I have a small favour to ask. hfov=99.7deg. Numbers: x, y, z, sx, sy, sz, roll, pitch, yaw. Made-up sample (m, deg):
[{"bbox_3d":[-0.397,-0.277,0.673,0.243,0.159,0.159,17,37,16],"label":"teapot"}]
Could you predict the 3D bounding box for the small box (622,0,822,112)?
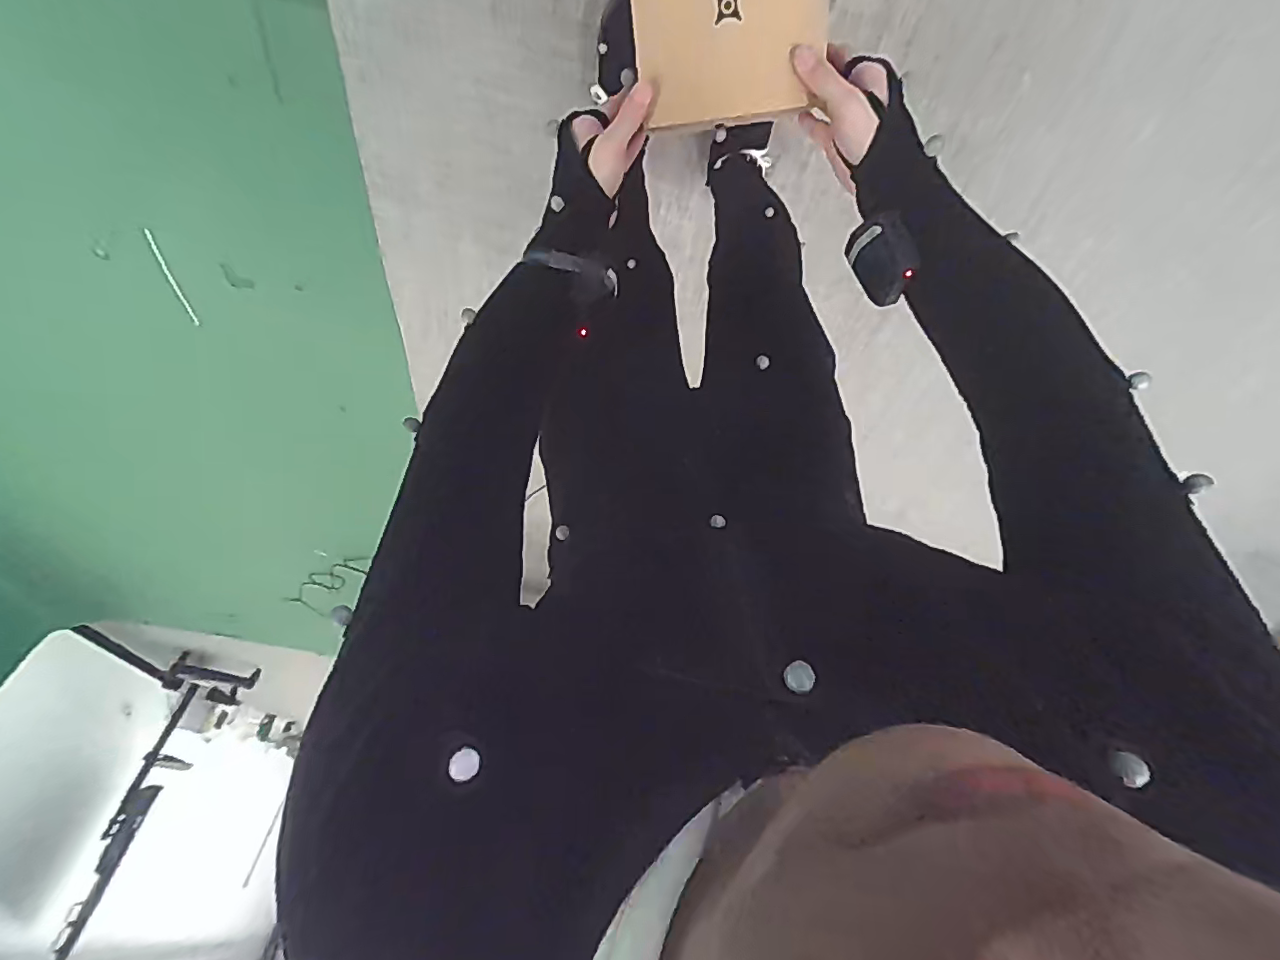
[{"bbox_3d":[0.069,-0.448,0.496,0.168,0.176,0.179,-2,121,4],"label":"small box"}]
